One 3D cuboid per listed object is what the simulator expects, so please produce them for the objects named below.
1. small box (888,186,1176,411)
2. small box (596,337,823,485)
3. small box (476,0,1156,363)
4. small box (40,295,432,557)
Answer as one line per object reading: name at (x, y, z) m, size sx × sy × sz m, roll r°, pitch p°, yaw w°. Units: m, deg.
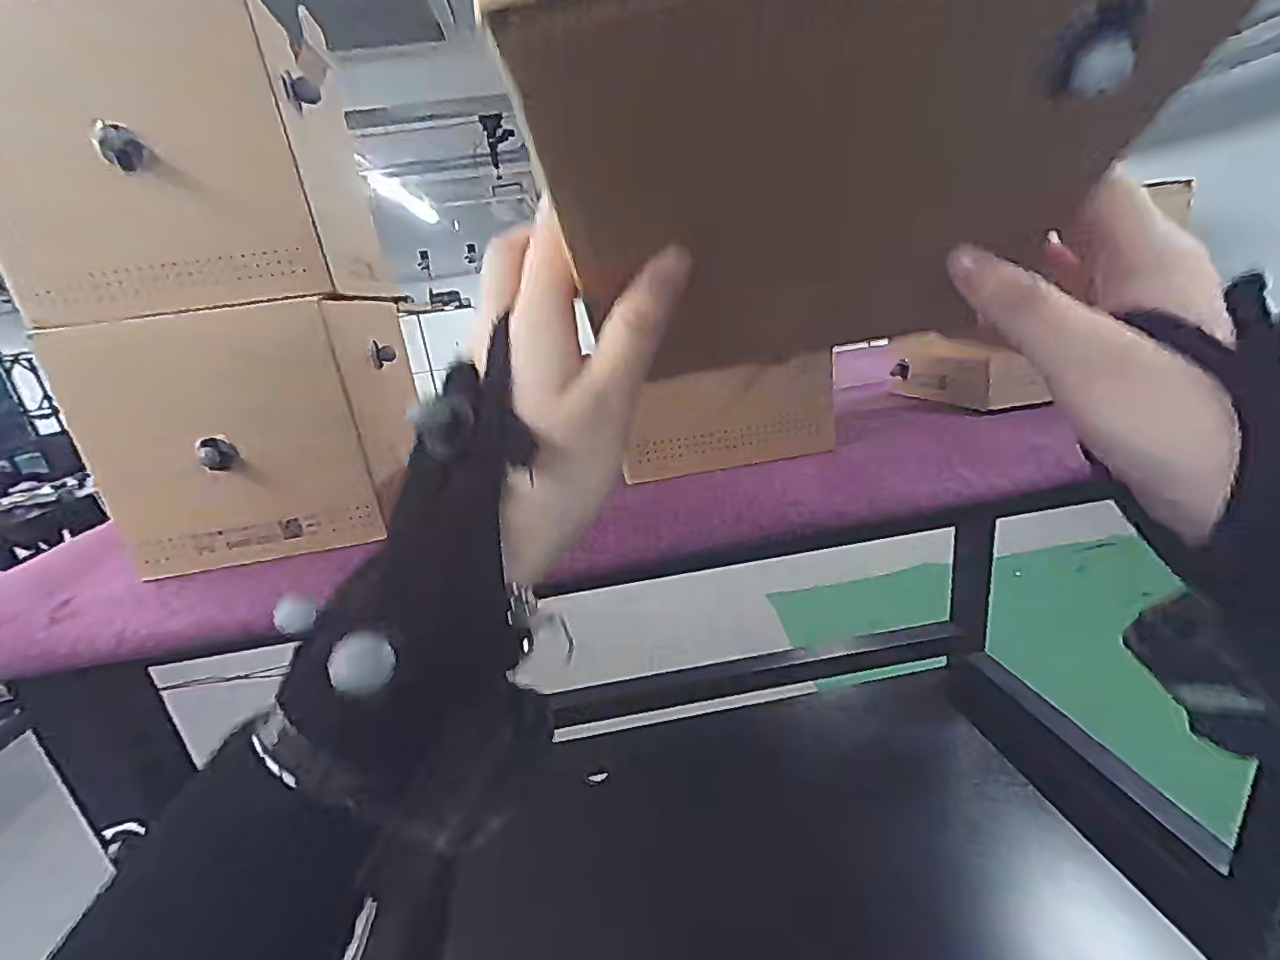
small box at (0.366, -0.169, 0.538) m, size 0.179 × 0.176 × 0.168 m, roll -9°, pitch 16°, yaw -3°
small box at (0.052, -0.107, 0.488) m, size 0.179 × 0.176 × 0.168 m, roll -10°, pitch 17°, yaw -5°
small box at (0.046, -0.163, 0.209) m, size 0.179 × 0.168 × 0.176 m, roll -10°, pitch -17°, yaw 1°
small box at (-0.280, -0.048, 0.432) m, size 0.168 × 0.176 × 0.179 m, roll -9°, pitch 18°, yaw -7°
